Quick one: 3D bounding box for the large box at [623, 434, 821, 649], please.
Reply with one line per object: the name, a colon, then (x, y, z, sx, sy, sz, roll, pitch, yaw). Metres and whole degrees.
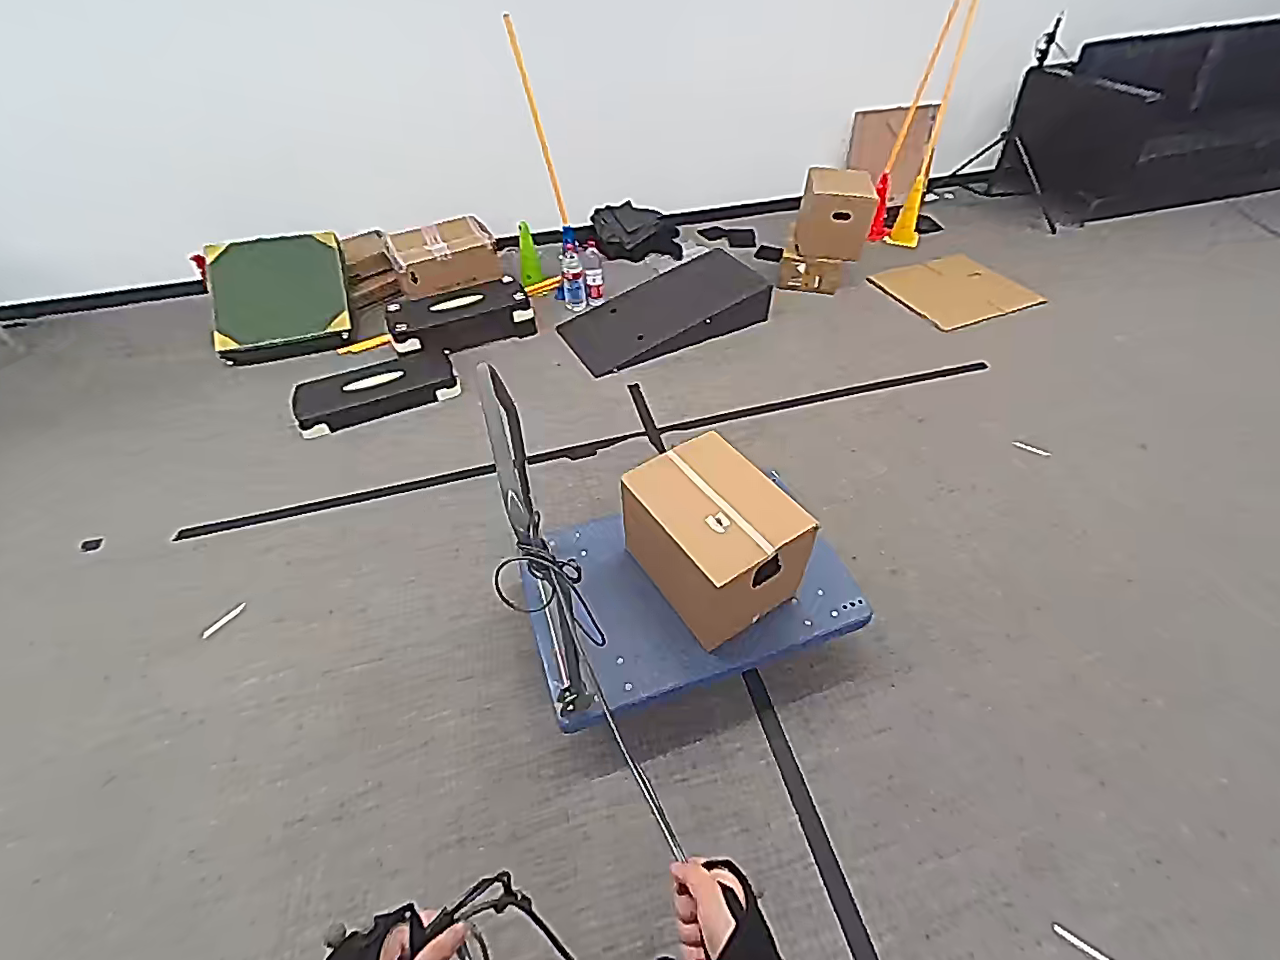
large box: (0.189, 0.153, 1.427, 0.320, 0.320, 0.408, -27, 53, -21)
